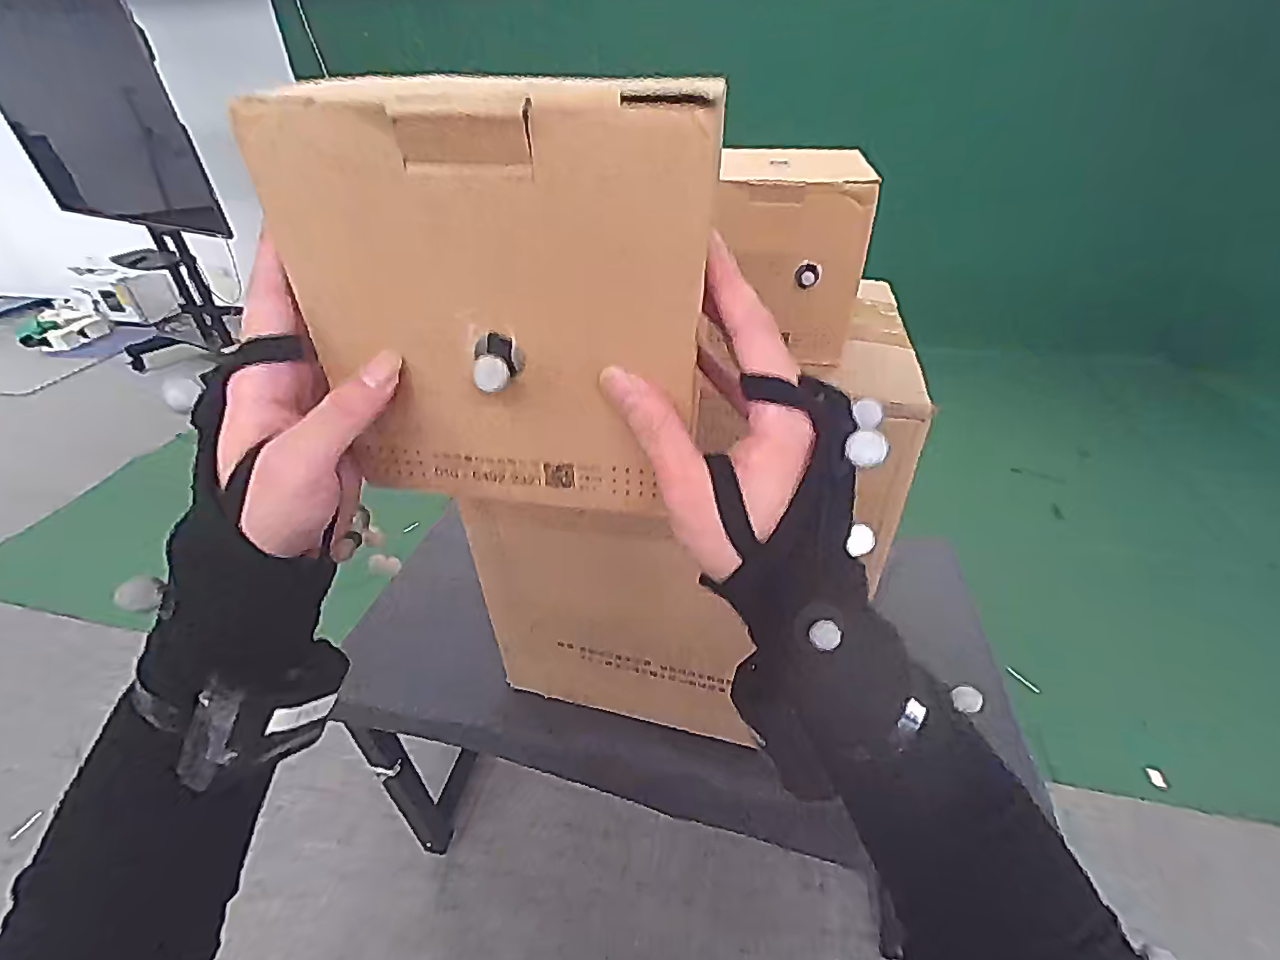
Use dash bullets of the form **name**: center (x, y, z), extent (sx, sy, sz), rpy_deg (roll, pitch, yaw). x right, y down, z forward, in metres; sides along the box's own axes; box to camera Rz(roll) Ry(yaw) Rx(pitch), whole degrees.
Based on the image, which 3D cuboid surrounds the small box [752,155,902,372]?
- **small box**: center (0.146, -0.226, 0.558), extent (0.168, 0.176, 0.179), rpy_deg (8, 39, 7)

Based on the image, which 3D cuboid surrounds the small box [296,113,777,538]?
- **small box**: center (-0.028, -0.086, 0.290), extent (0.168, 0.176, 0.179), rpy_deg (3, 39, 3)
